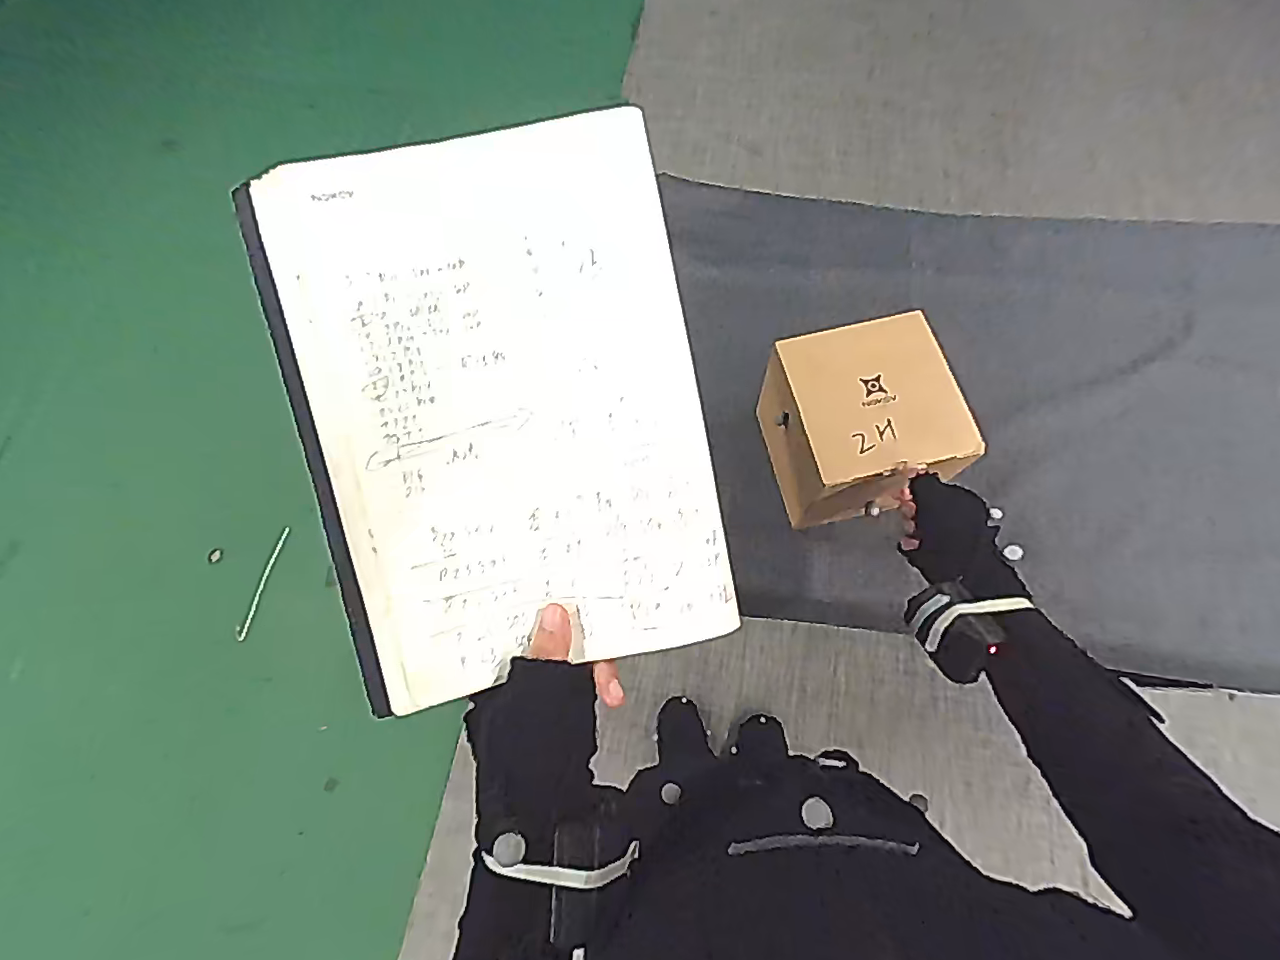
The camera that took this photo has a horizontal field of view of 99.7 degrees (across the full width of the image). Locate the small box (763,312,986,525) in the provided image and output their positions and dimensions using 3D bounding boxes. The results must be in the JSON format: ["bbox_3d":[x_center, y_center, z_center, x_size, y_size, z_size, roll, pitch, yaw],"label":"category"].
[{"bbox_3d":[0.253,-0.063,0.637,0.168,0.176,0.179,-12,69,1],"label":"small box"}]
